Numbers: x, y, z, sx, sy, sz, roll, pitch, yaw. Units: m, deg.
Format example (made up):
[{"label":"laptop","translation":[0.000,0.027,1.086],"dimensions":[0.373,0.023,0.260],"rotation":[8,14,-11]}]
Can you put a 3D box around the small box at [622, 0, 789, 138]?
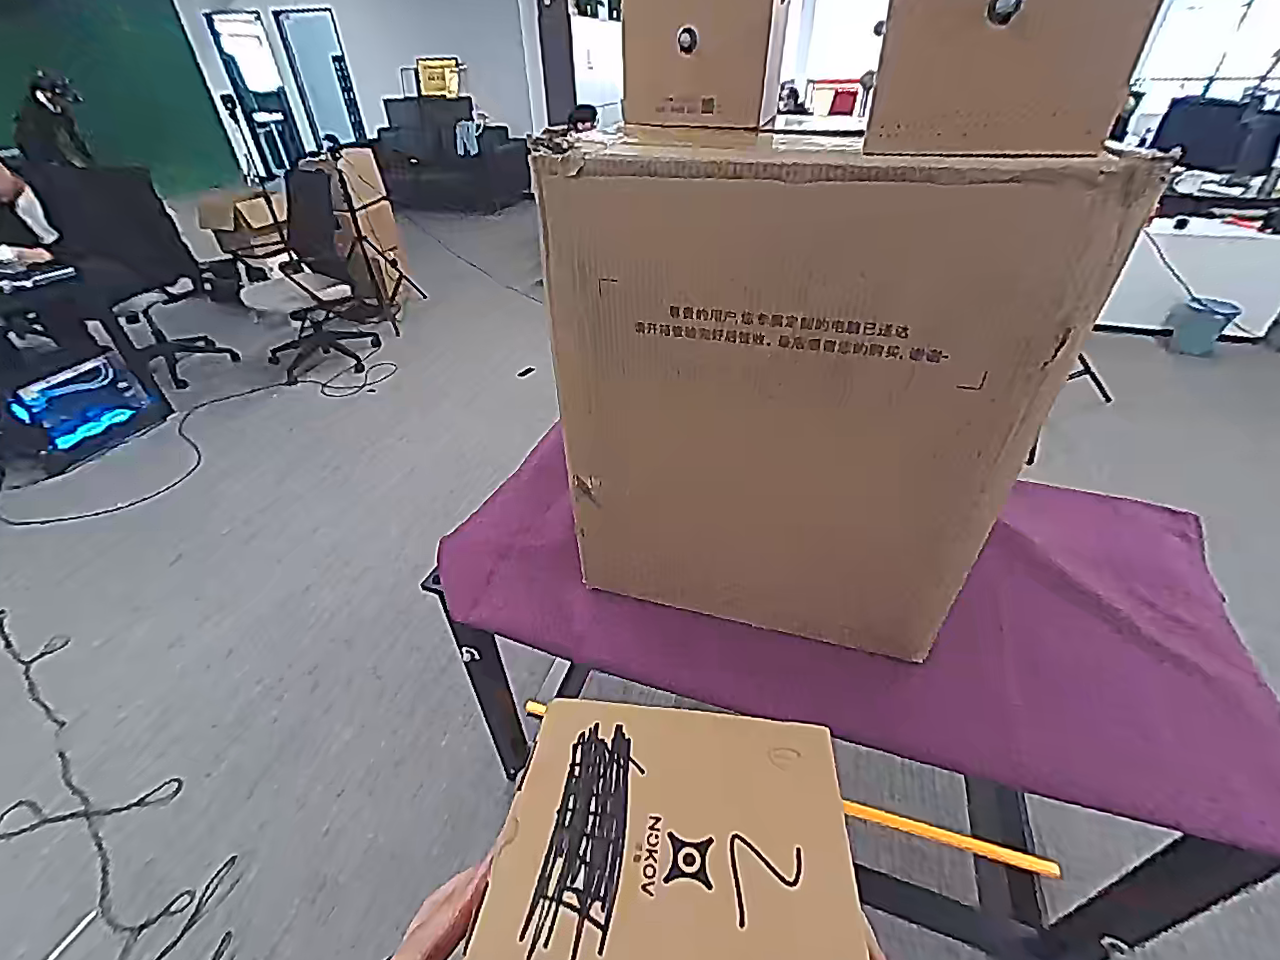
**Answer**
[{"label":"small box","translation":[0.084,-0.521,0.652],"dimensions":[0.168,0.176,0.179],"rotation":[12,40,14]}]
